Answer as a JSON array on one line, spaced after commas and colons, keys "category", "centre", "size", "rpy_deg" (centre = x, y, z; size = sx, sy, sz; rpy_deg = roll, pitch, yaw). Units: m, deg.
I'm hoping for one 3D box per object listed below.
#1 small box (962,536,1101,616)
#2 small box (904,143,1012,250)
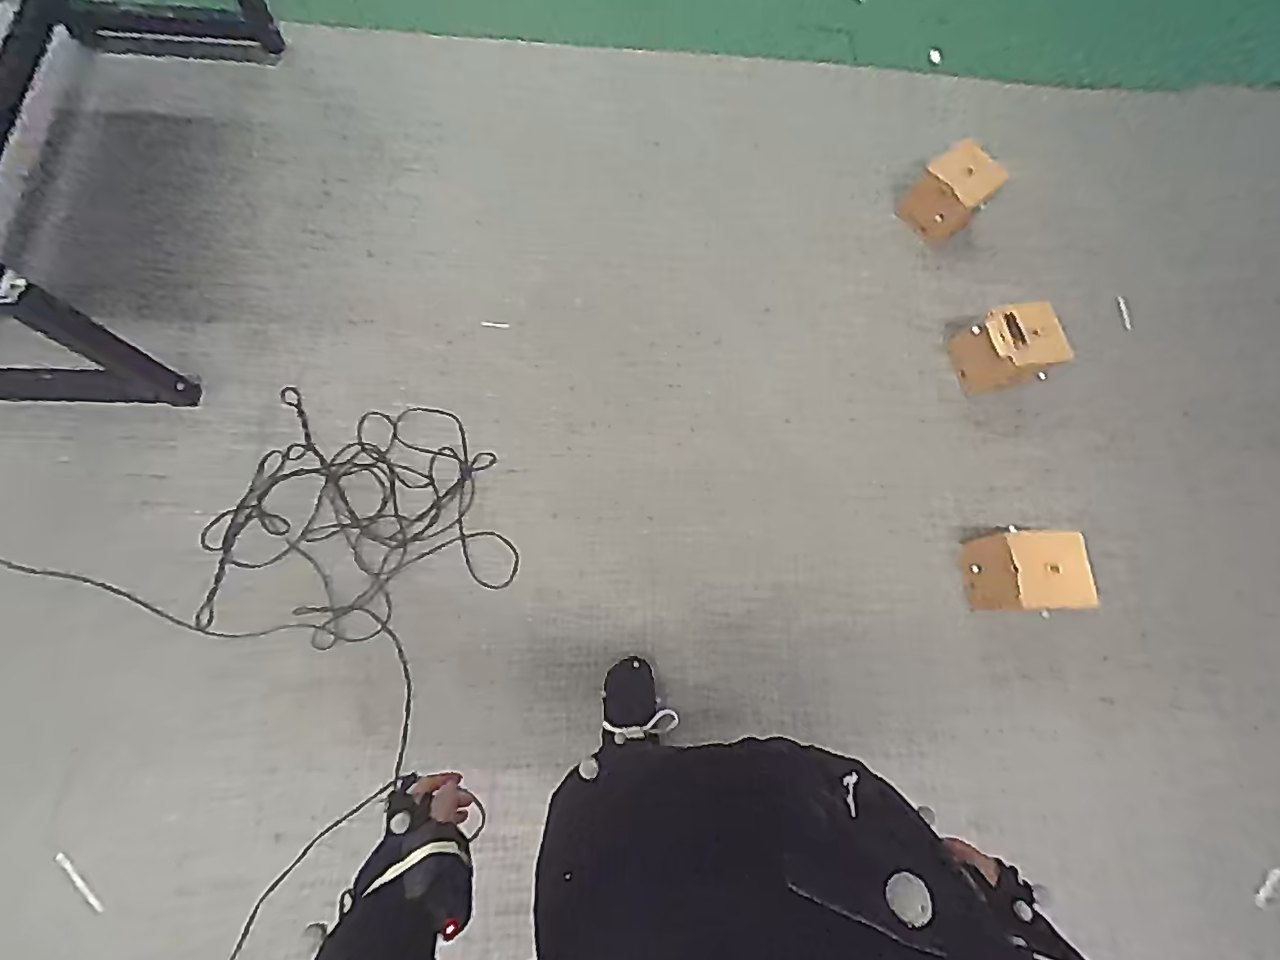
[{"category": "small box", "centre": [0.876, 0.220, 1.227], "size": [0.179, 0.176, 0.168], "rpy_deg": [0, 74, -4]}, {"category": "small box", "centre": [0.881, -0.791, 1.523], "size": [0.179, 0.176, 0.168], "rpy_deg": [-37, 81, -14]}]
